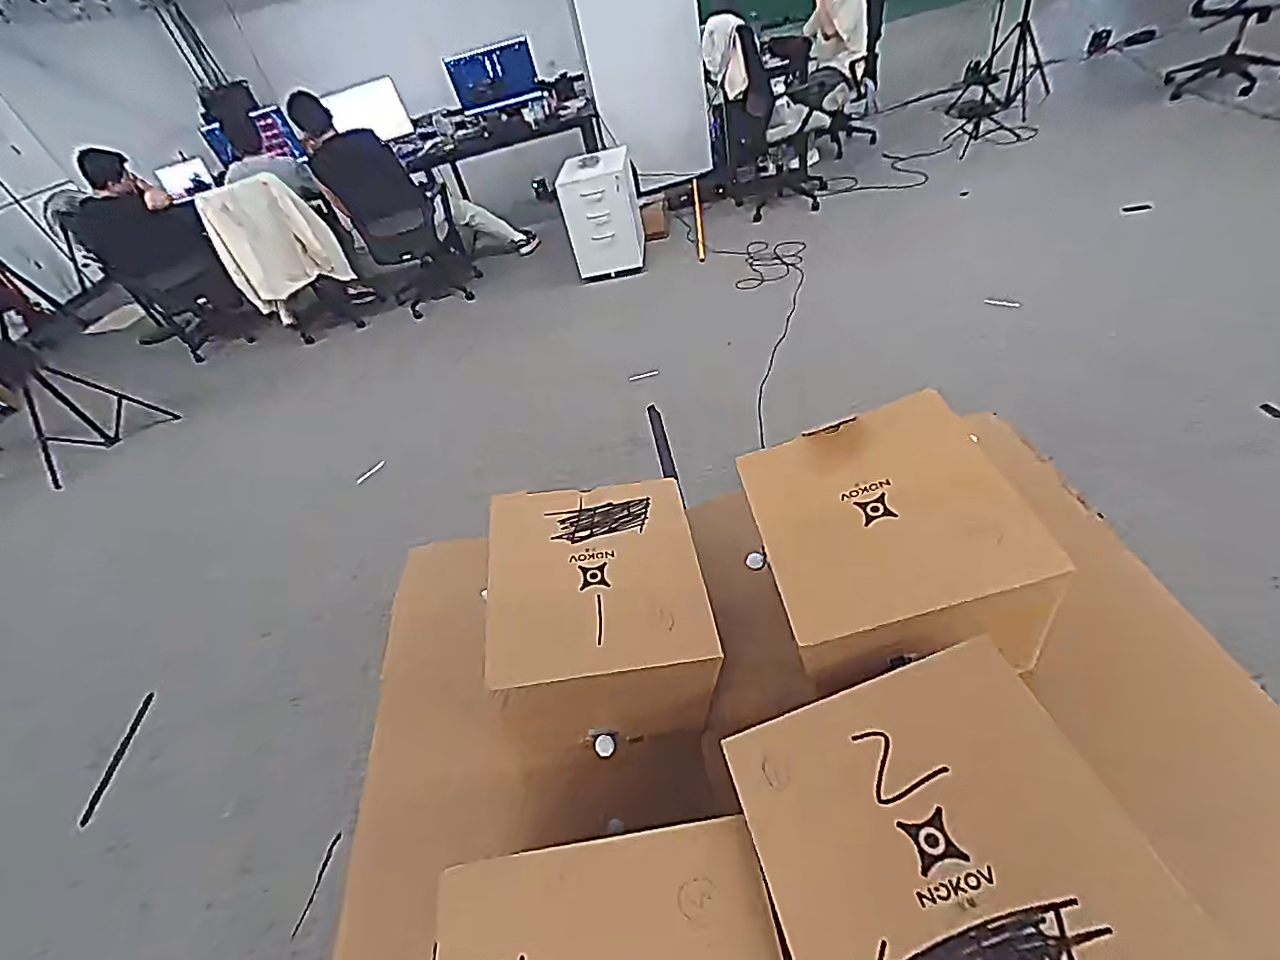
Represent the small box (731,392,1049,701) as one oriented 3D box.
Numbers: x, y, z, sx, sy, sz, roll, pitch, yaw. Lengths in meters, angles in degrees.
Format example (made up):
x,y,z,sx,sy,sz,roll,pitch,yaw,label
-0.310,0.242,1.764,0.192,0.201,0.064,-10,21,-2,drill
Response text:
x,y,z,sx,sy,sz,roll,pitch,yaw,label
0.193,0.065,0.451,0.168,0.176,0.179,-20,45,11,small box
